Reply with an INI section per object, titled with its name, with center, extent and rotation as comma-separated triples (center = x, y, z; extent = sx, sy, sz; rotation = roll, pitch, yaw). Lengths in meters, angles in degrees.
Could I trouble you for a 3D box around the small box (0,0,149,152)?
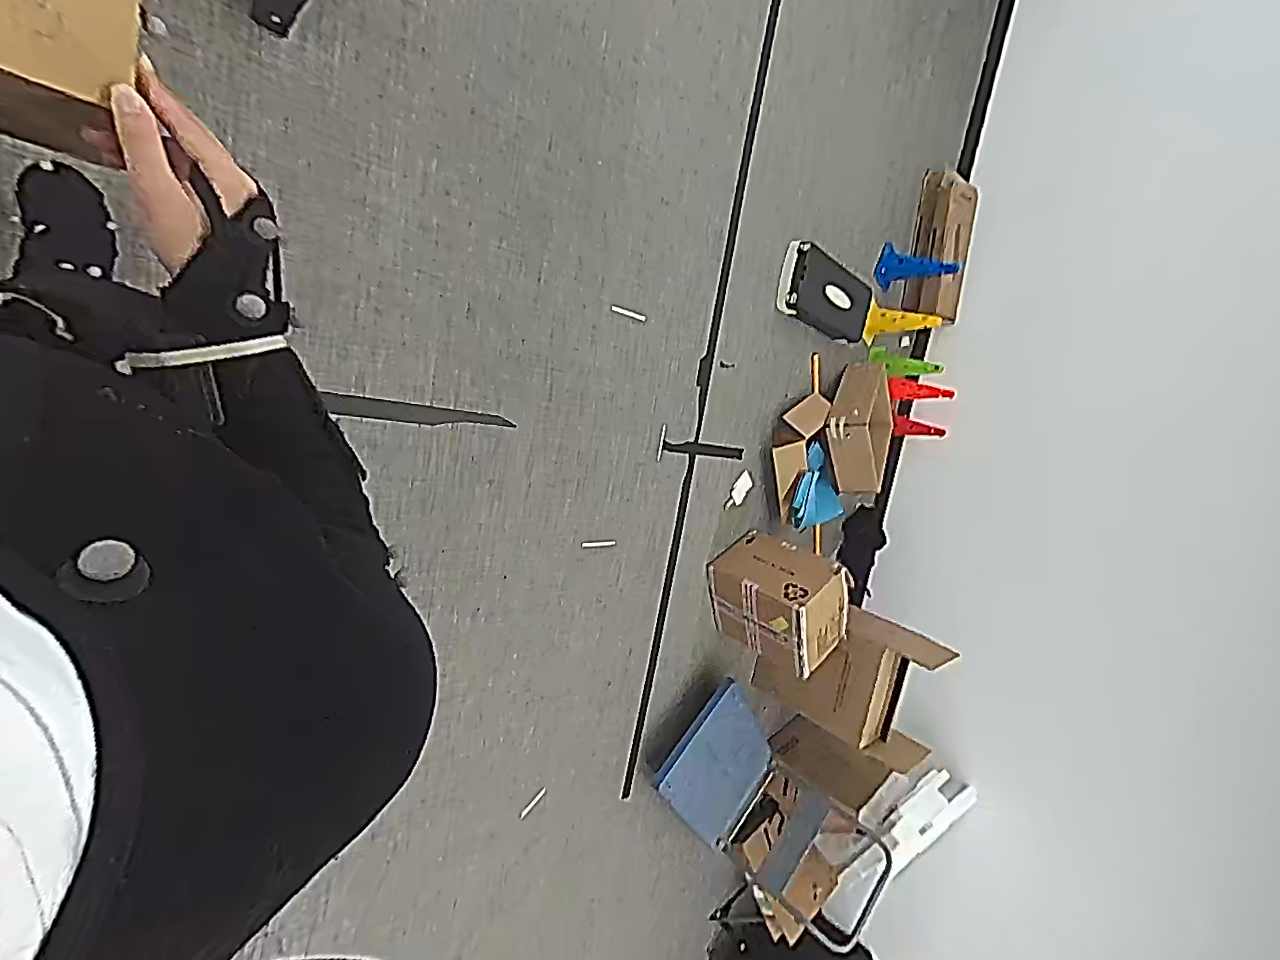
[small box]
center = -0.384, -0.318, 0.295
extent = 0.168, 0.176, 0.179
rotation = 3, 100, -46
